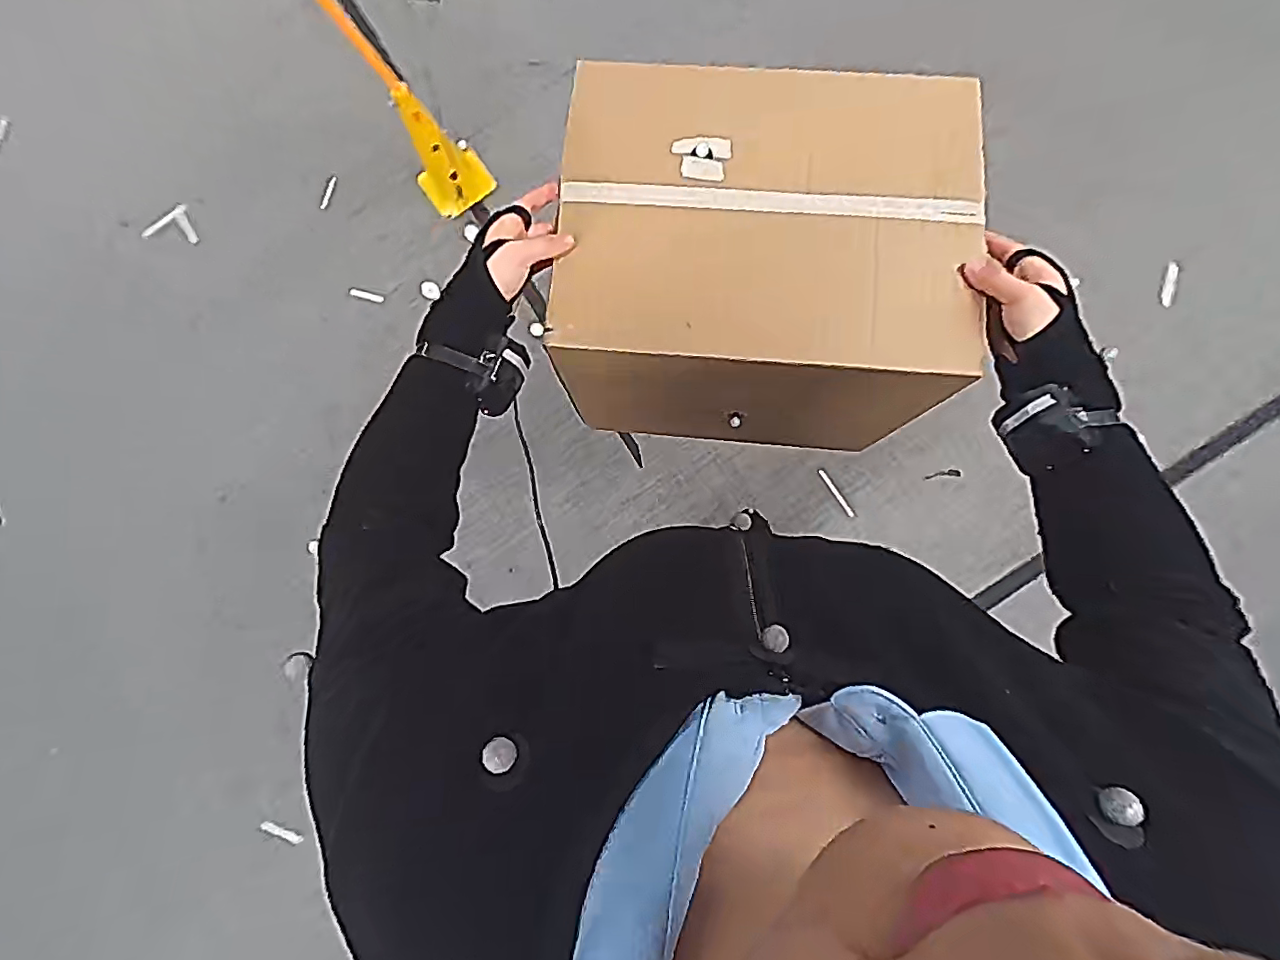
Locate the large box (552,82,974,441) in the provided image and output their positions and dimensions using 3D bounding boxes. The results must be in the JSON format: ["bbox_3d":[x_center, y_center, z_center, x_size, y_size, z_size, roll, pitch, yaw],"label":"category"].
[{"bbox_3d":[0.128,-0.236,0.682,0.408,0.320,0.320,3,79,4],"label":"large box"}]
